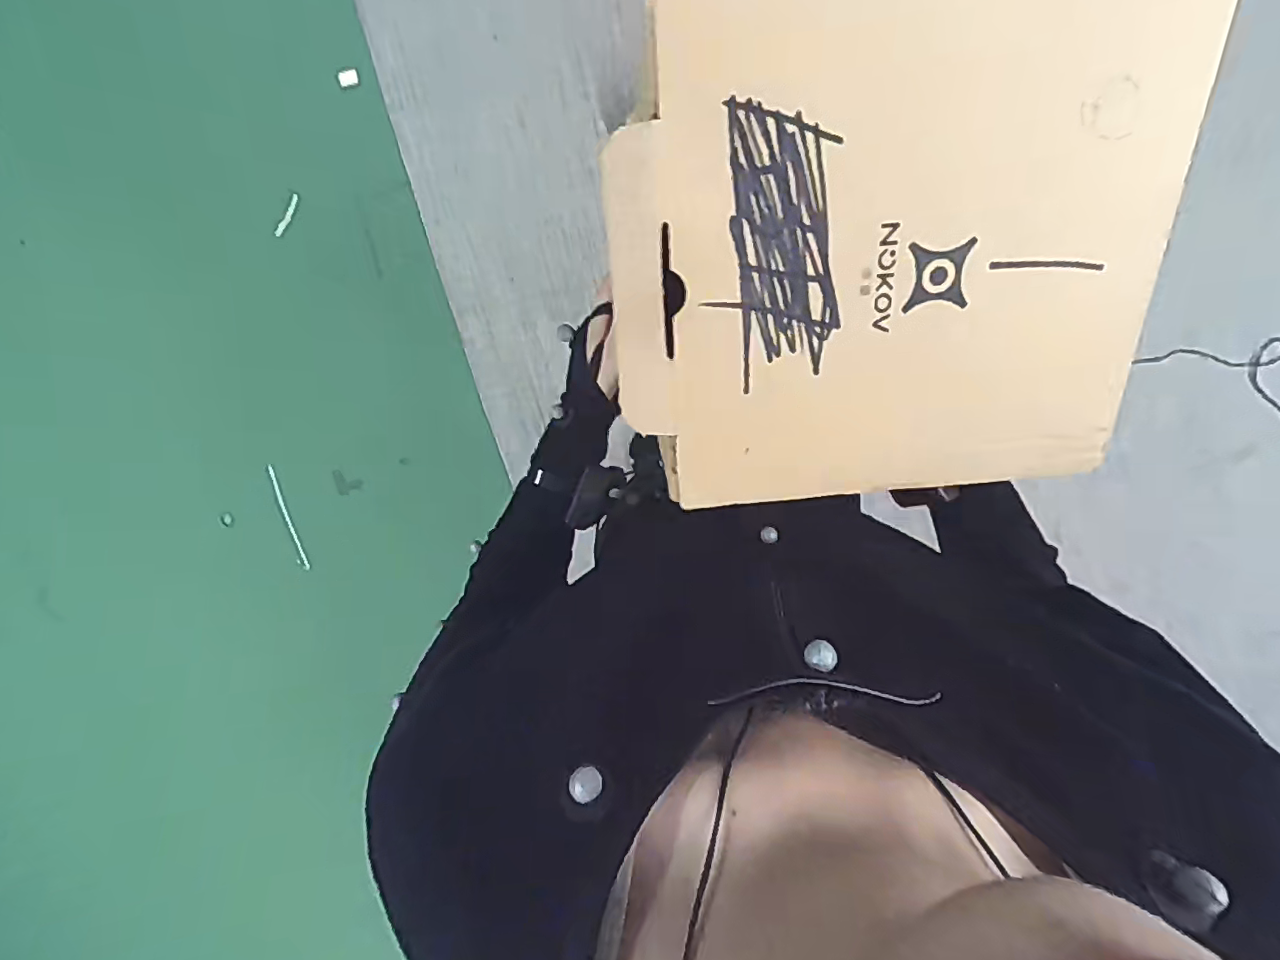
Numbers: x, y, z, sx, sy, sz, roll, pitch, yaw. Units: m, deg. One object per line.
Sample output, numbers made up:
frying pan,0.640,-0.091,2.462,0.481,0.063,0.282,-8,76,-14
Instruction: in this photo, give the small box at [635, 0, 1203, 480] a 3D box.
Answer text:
small box,0.090,-0.110,0.267,0.179,0.176,0.168,-5,113,0
